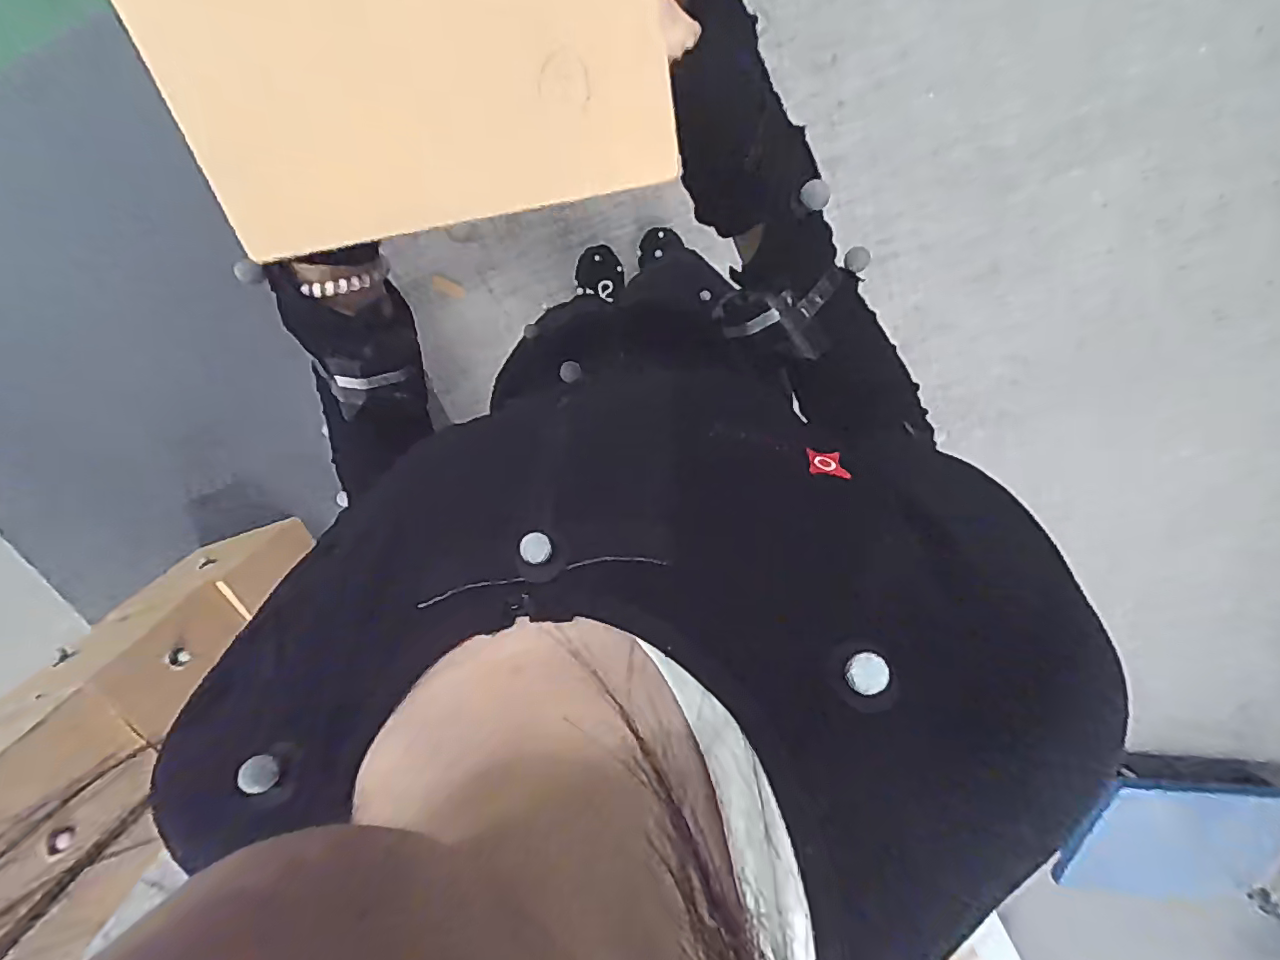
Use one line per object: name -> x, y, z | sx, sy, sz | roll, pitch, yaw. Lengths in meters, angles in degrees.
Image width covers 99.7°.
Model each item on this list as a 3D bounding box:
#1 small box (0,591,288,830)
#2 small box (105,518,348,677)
small box -> -0.562, 0.249, 0.618 | 0.168, 0.176, 0.179 | -19, 113, 9
small box -> -0.562, 0.179, 0.765 | 0.179, 0.176, 0.168 | -18, 113, 7
